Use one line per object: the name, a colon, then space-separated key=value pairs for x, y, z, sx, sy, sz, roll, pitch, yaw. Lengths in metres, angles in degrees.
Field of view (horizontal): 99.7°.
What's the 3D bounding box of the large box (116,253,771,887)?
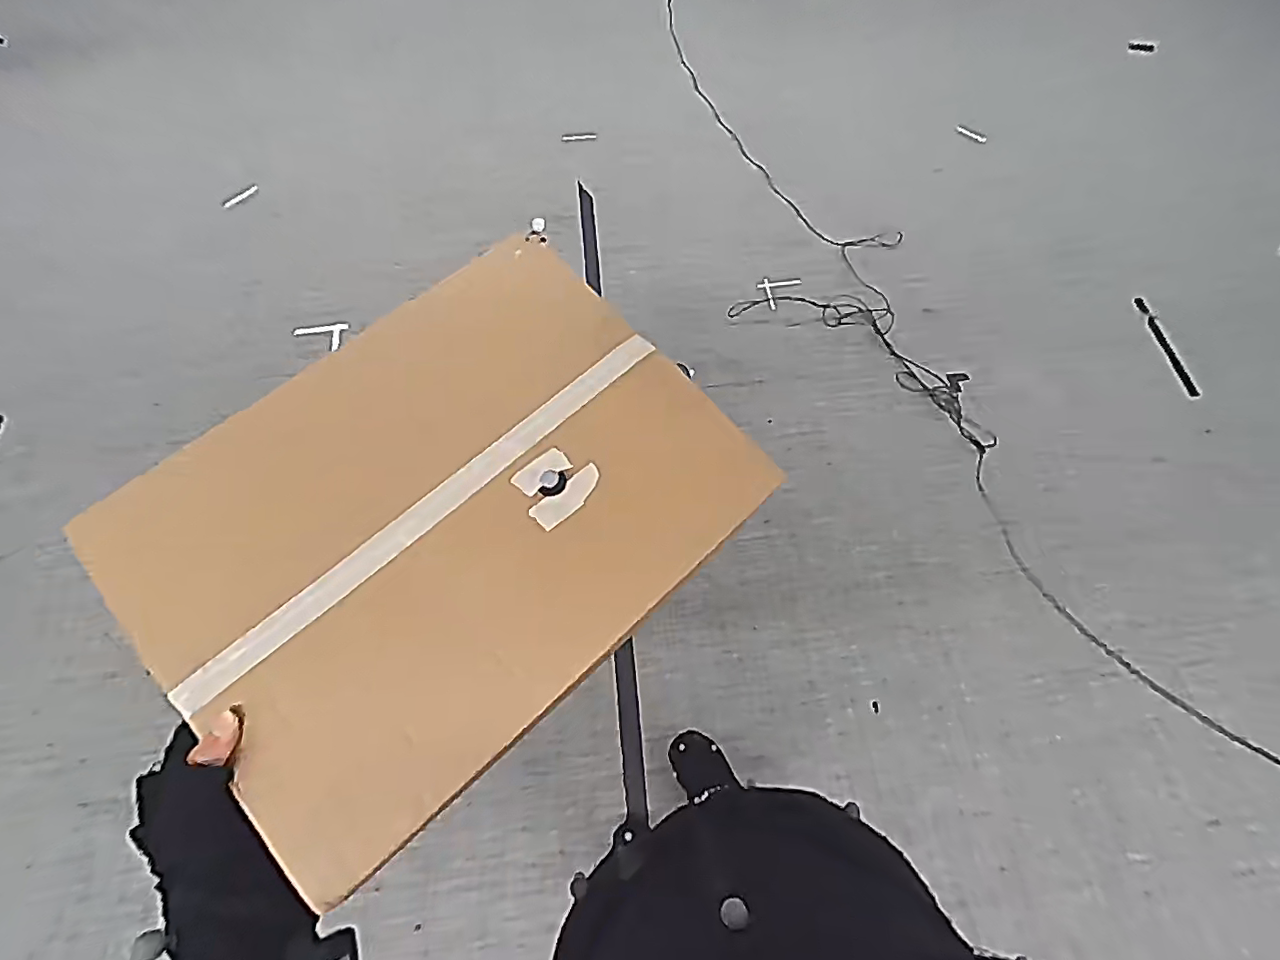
large box: x=-0.146 y=0.071 z=0.550 sx=0.408 sy=0.320 sz=0.320 roll=-41 pitch=78 yaw=-15
